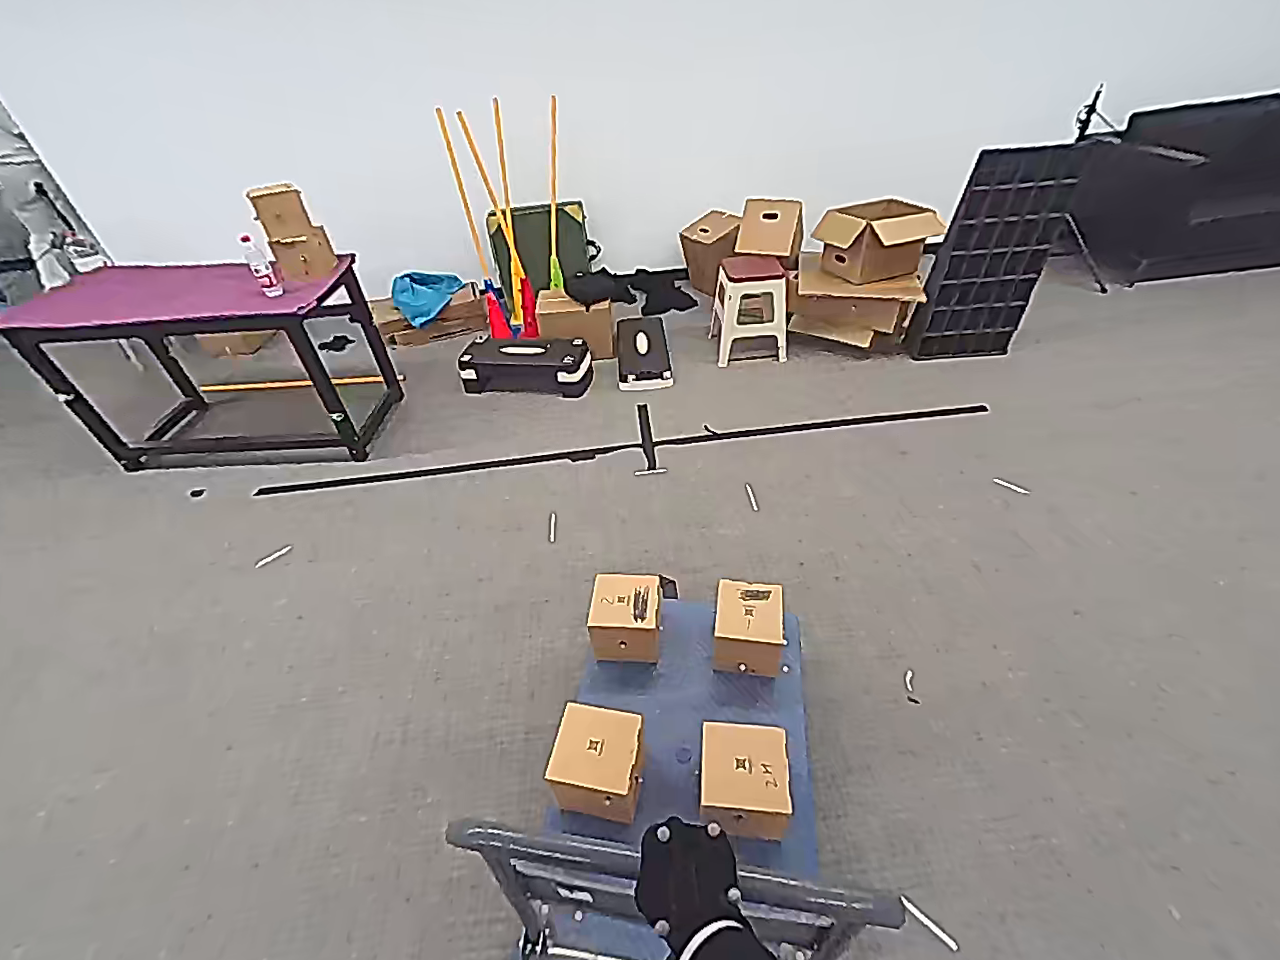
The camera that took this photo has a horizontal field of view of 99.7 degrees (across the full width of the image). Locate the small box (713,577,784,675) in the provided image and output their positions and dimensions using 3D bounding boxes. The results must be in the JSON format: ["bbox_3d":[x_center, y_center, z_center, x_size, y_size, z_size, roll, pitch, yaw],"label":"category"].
[{"bbox_3d":[0.284,0.383,1.420,0.168,0.176,0.179,5,44,10],"label":"small box"}]

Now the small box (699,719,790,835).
[{"bbox_3d":[0.217,0.632,1.149,0.179,0.176,0.168,2,42,7],"label":"small box"}]

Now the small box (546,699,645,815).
[{"bbox_3d":[-0.089,0.613,1.194,0.179,0.176,0.168,7,42,9],"label":"small box"}]
